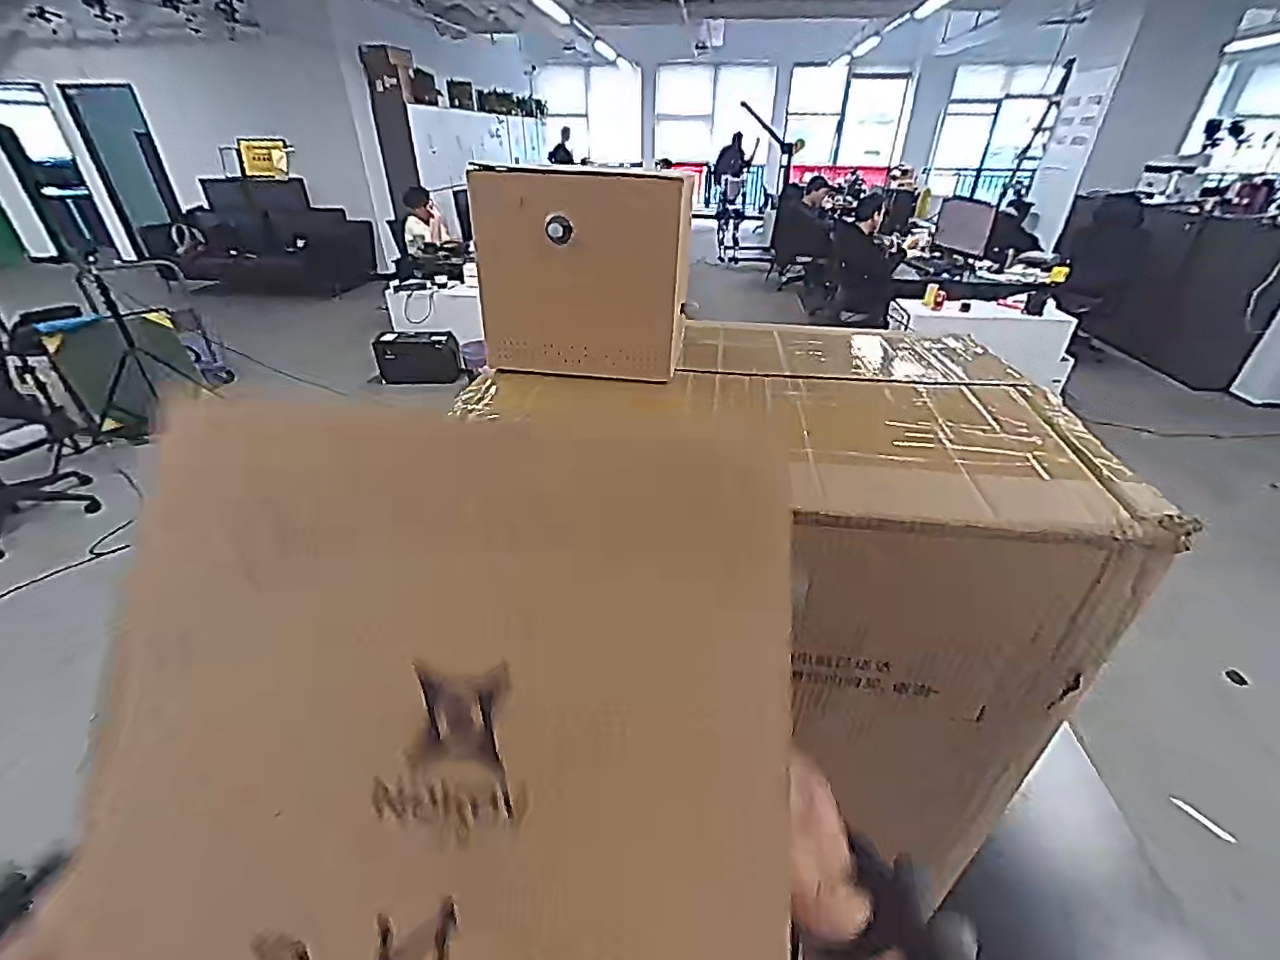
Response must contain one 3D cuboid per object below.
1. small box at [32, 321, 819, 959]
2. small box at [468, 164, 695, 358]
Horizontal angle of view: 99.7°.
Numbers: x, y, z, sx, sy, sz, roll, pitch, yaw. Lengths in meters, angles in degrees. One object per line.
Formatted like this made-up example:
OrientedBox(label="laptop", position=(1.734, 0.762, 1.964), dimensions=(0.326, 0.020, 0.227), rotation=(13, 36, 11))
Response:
OrientedBox(label="small box", position=(-0.044, 0.062, 0.203), dimensions=(0.168, 0.179, 0.176), rotation=(3, -7, -2))
OrientedBox(label="small box", position=(-0.043, -0.207, 0.527), dimensions=(0.179, 0.176, 0.168), rotation=(6, 31, 6))
